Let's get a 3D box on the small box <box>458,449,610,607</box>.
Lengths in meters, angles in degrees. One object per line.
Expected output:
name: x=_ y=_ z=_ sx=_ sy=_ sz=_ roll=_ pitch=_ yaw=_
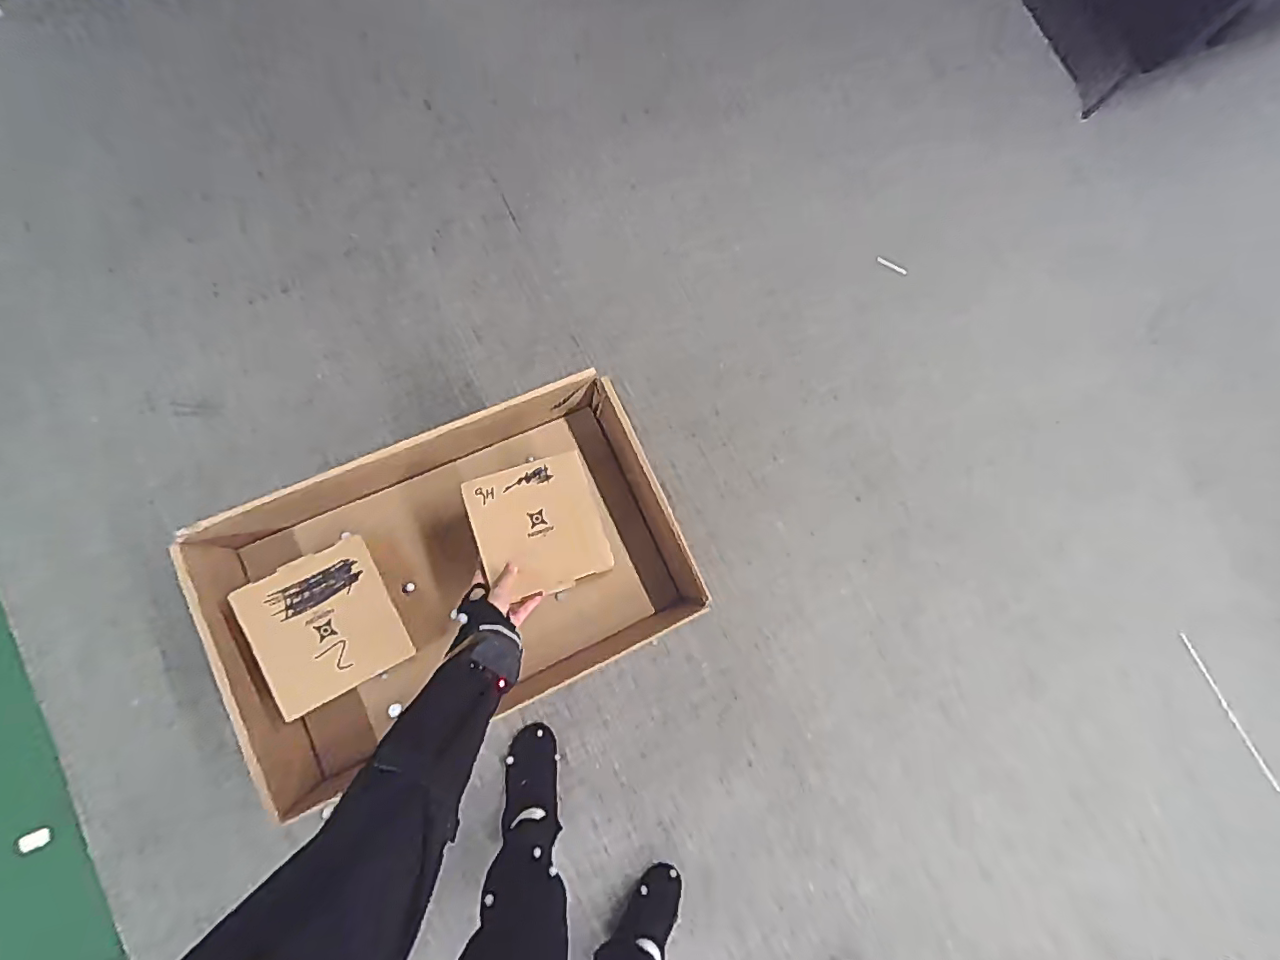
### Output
small box: x=-0.151 y=0.076 z=0.794 sx=0.168 sy=0.176 sz=0.179 roll=-17 pitch=79 yaw=-12
